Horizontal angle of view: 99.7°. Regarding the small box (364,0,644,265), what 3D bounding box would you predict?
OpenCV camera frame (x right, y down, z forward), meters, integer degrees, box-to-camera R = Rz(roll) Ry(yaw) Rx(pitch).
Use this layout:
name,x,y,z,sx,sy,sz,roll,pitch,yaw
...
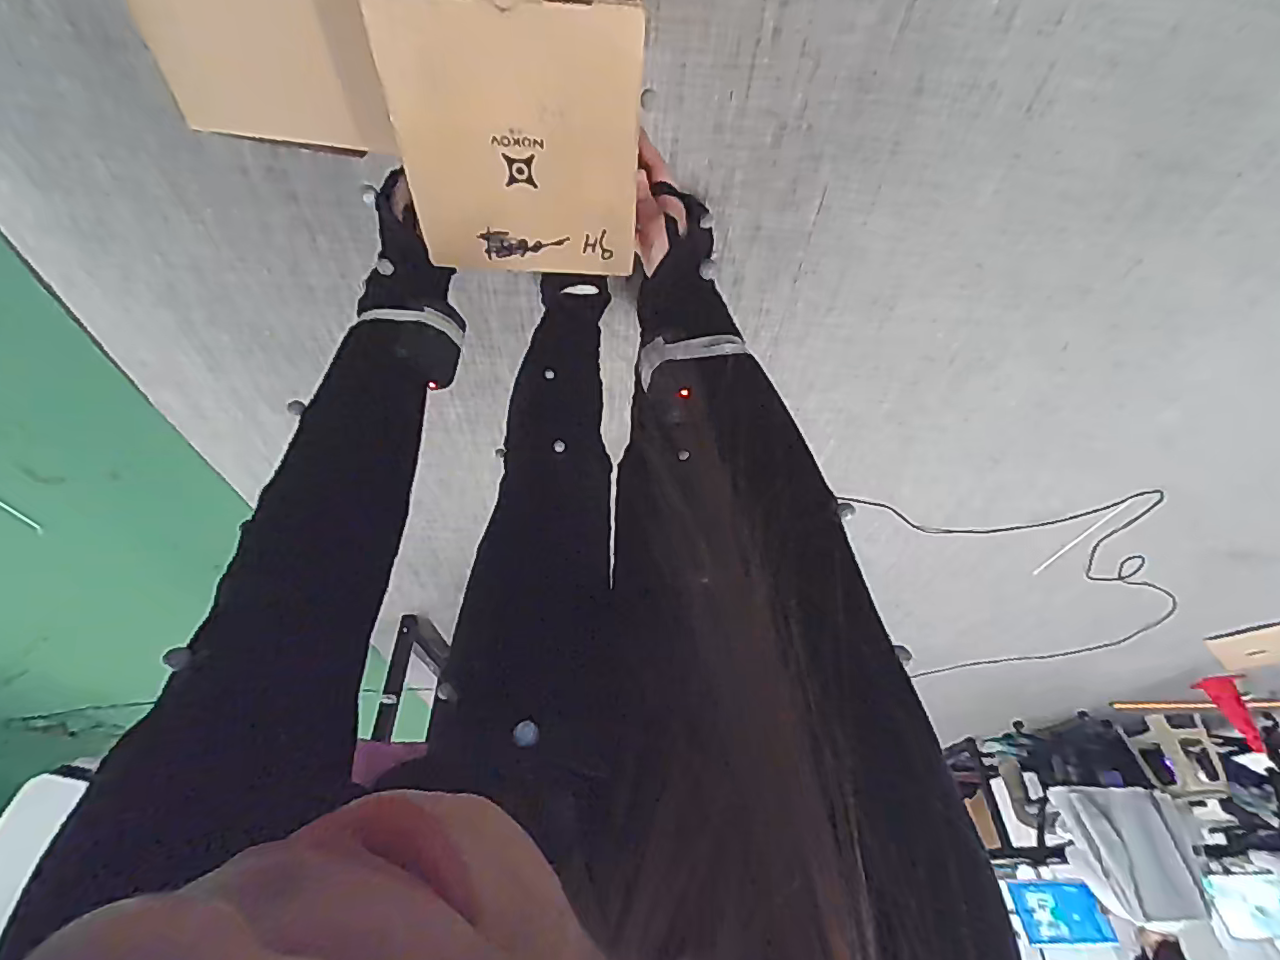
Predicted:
name,x,y,z,sx,sy,sz,roll,pitch,yaw
small box,-0.086,-0.296,0.422,0.168,0.176,0.179,2,142,-3
